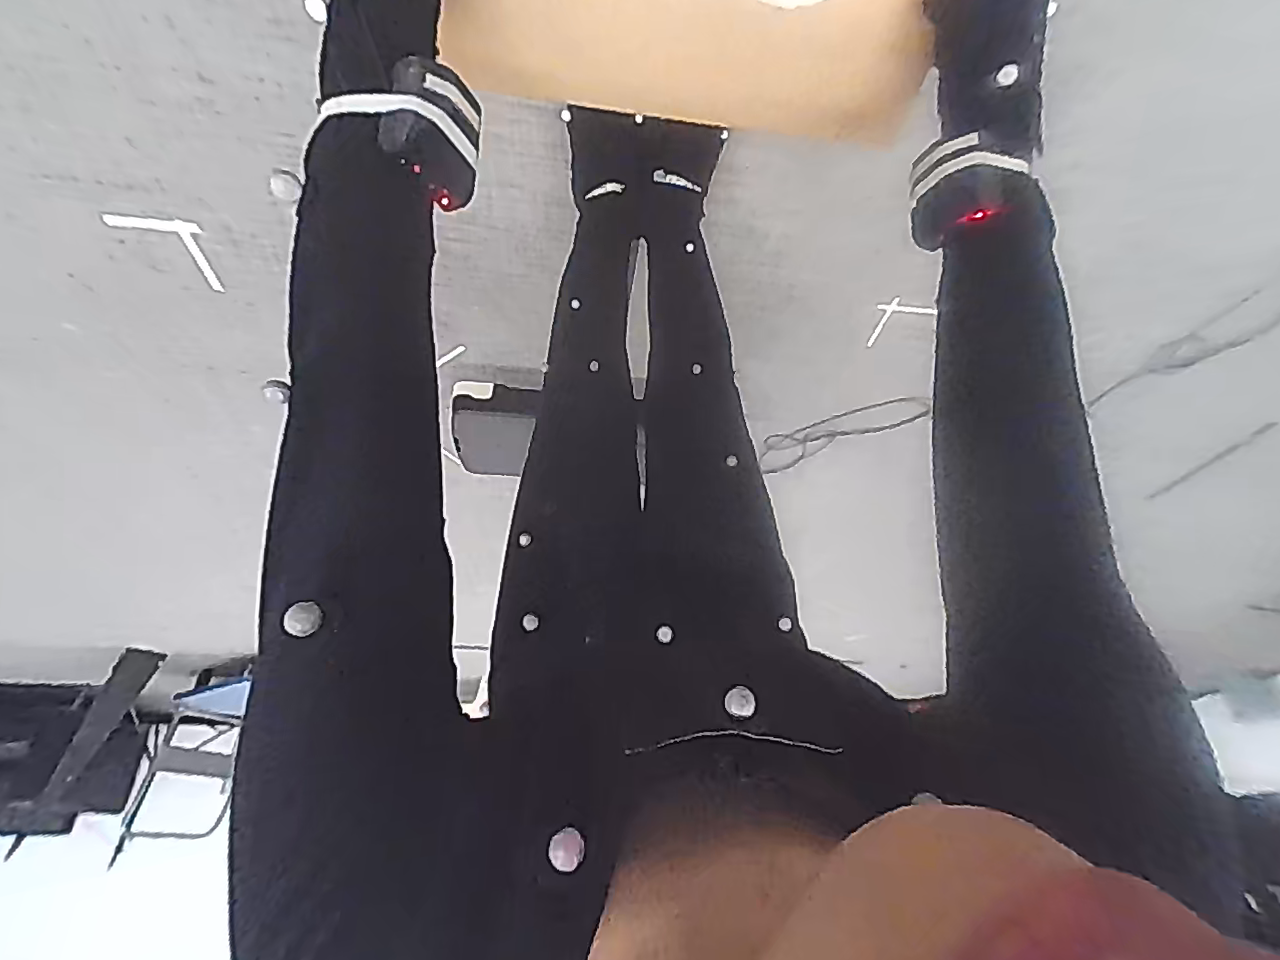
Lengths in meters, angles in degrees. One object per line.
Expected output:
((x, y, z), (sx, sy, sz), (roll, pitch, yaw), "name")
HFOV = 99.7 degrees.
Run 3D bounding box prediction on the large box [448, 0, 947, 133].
((0.048, -0.543, 0.461), (0.408, 0.320, 0.320), (2, 141, -9), "large box")
